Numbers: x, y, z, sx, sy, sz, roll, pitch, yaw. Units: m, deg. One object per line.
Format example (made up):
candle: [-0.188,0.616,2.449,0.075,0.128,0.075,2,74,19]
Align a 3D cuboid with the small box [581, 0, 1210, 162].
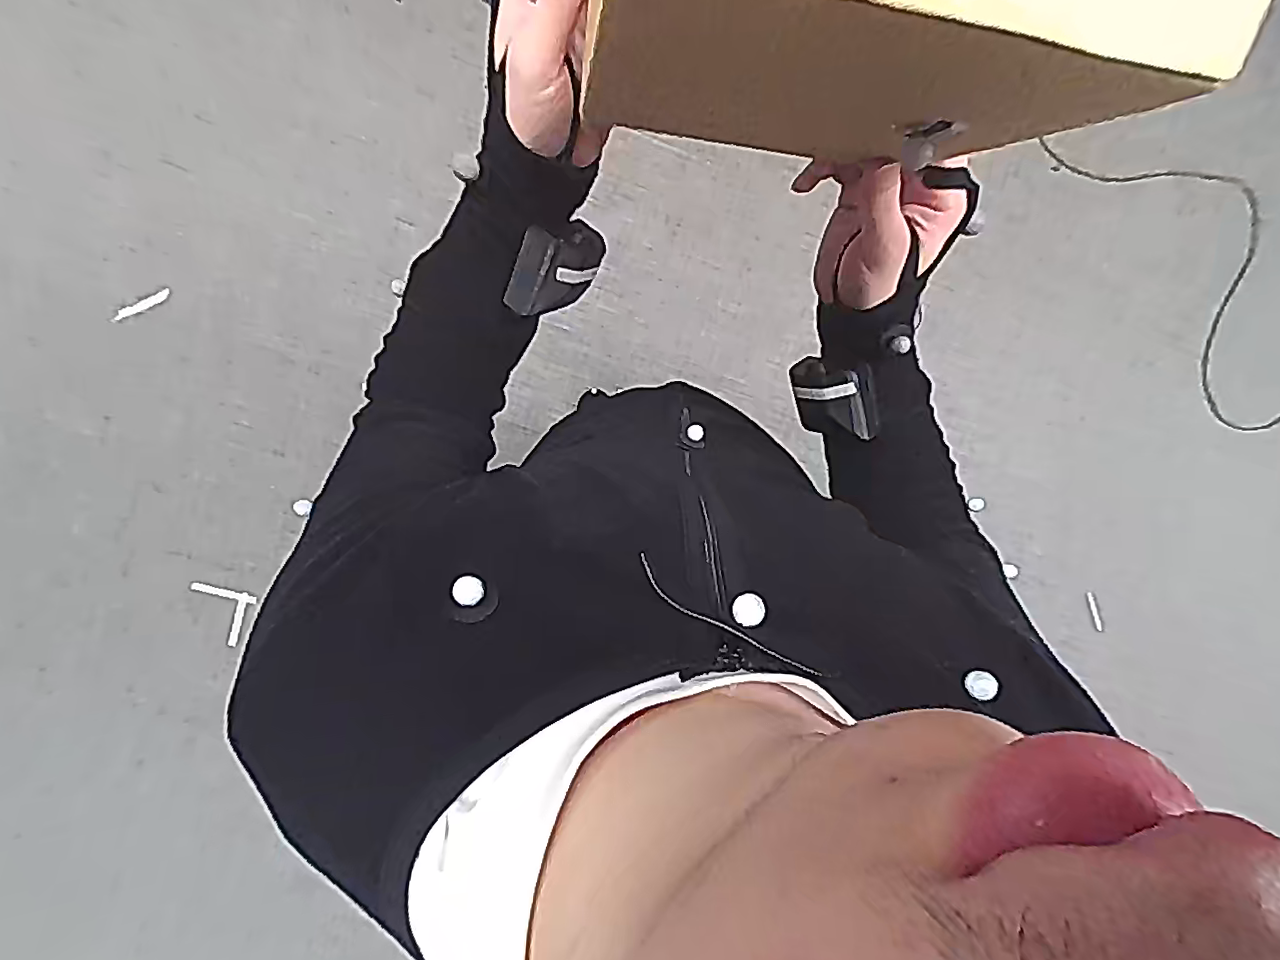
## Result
small box: [0.072,-0.225,0.192,0.179,0.176,0.168,2,112,-8]
